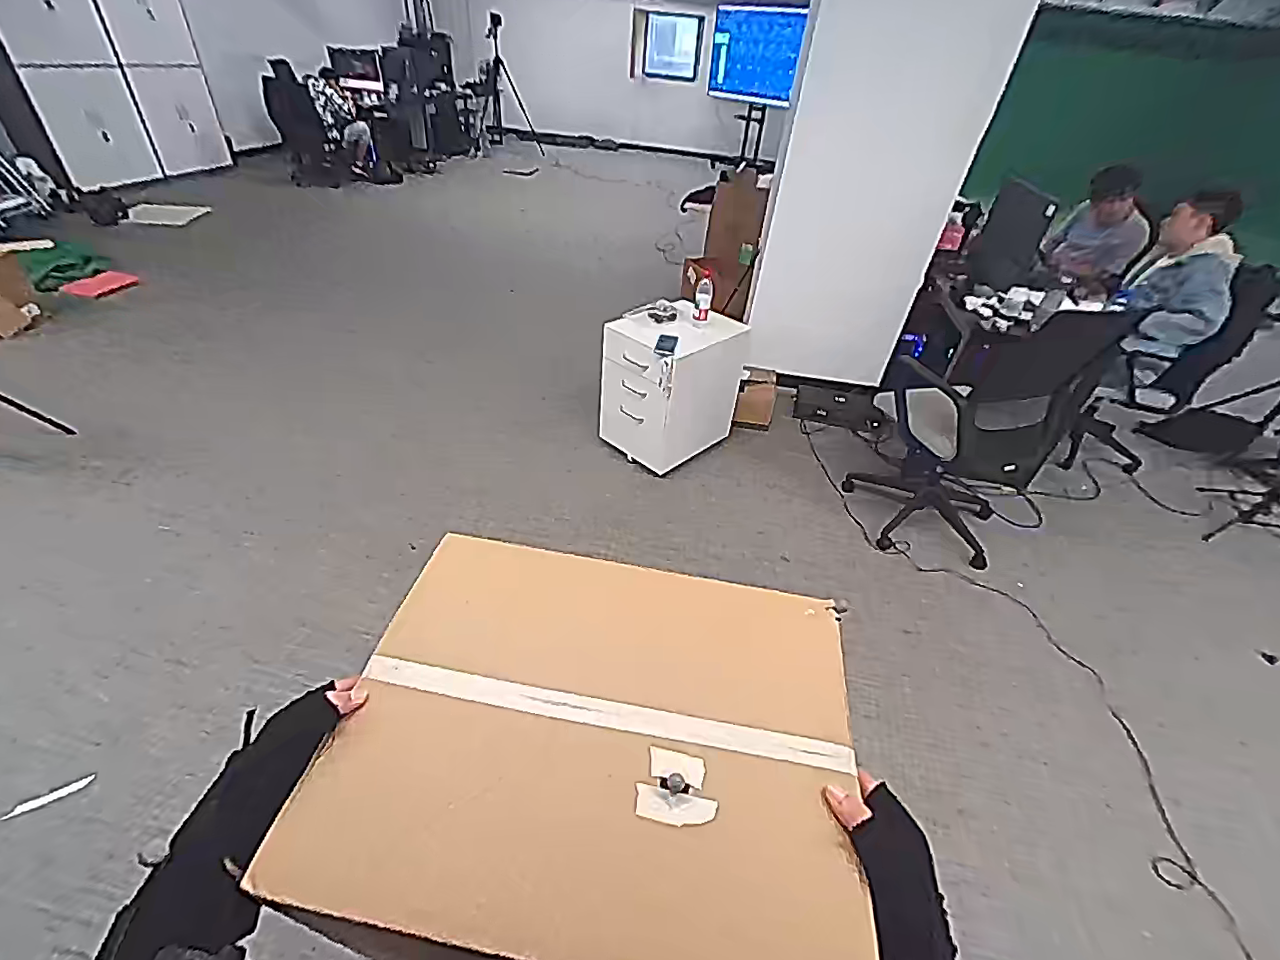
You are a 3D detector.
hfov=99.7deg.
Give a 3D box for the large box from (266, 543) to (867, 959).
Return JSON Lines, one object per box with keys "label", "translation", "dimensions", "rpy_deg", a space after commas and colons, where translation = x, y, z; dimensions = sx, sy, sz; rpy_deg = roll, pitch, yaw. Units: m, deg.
{"label": "large box", "translation": [-0.043, 0.306, 0.551], "dimensions": [0.408, 0.320, 0.320], "rpy_deg": [10, 43, 4]}
